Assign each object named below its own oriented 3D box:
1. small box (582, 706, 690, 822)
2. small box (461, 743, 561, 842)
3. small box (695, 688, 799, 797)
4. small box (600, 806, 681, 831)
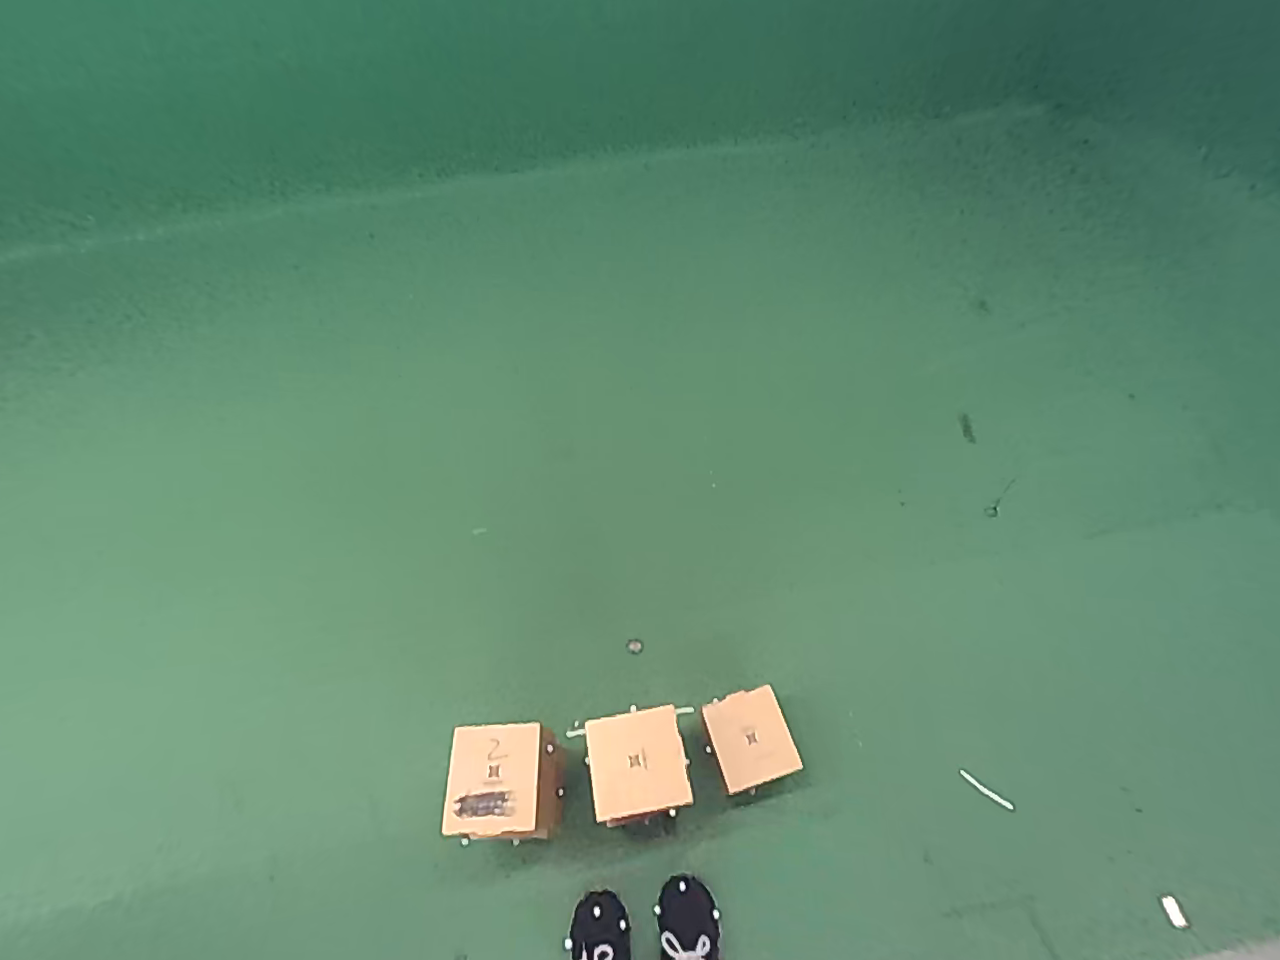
[{"bbox_3d":[-0.008,0.552,1.044,0.179,0.176,0.168,-9,59,-5],"label":"small box"},{"bbox_3d":[-0.268,0.673,1.167,0.168,0.176,0.179,-1,59,2],"label":"small box"},{"bbox_3d":[0.228,0.589,1.208,0.168,0.176,0.179,-14,60,-7],"label":"small box"},{"bbox_3d":[-0.011,0.643,1.179,0.168,0.176,0.179,-12,58,-6],"label":"small box"}]
